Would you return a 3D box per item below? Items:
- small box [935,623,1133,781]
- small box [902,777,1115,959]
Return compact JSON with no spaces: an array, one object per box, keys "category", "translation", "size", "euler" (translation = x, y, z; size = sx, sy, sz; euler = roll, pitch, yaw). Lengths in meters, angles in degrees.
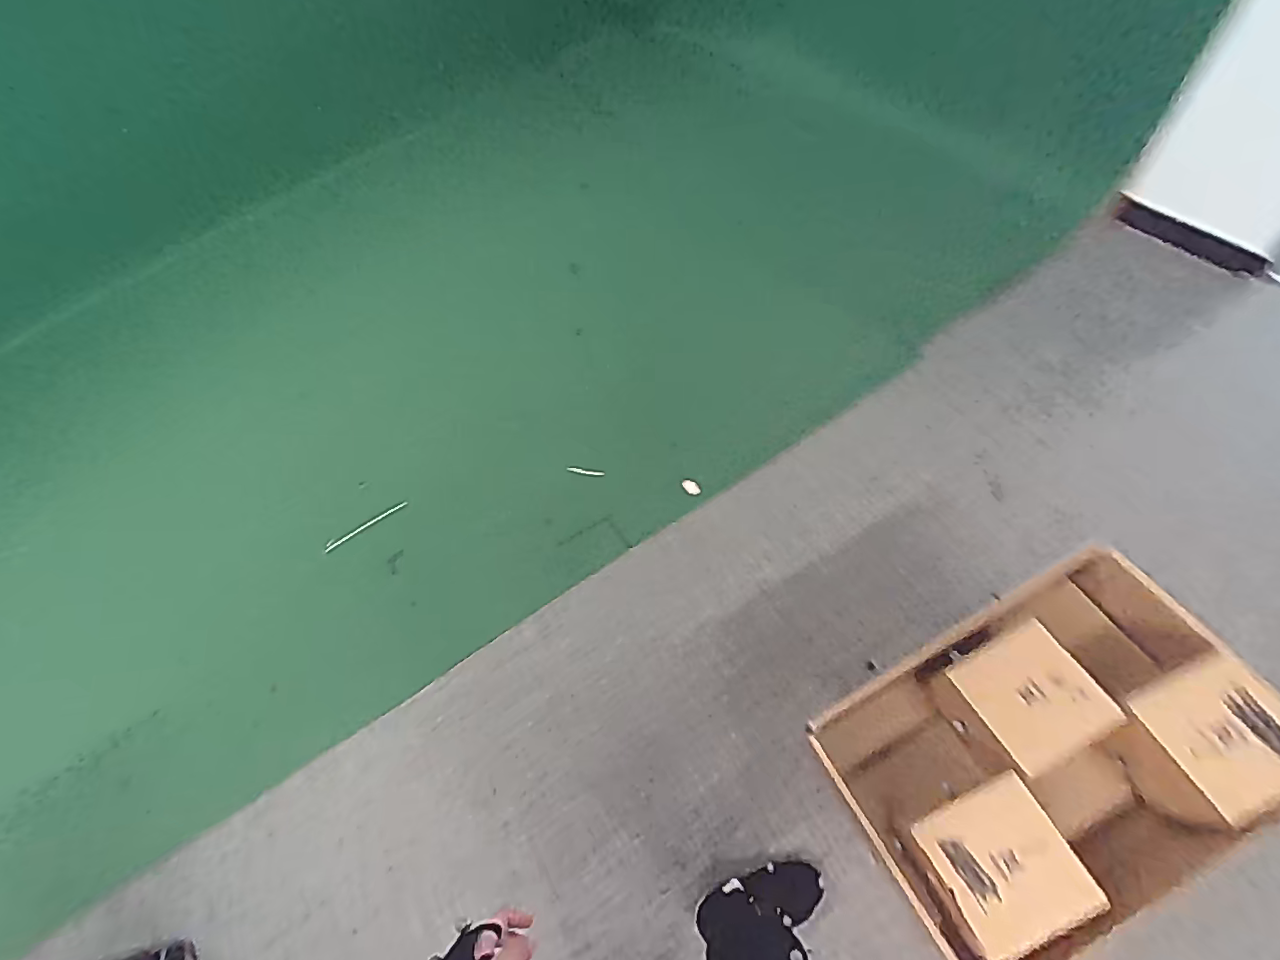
[{"category":"small box","translation":[0.609,0.361,0.870],"size":[0.179,0.176,0.168],"euler":[-29,60,-3]},{"category":"small box","translation":[0.509,0.556,0.786],"size":[0.179,0.176,0.168],"euler":[-26,59,-2]}]
